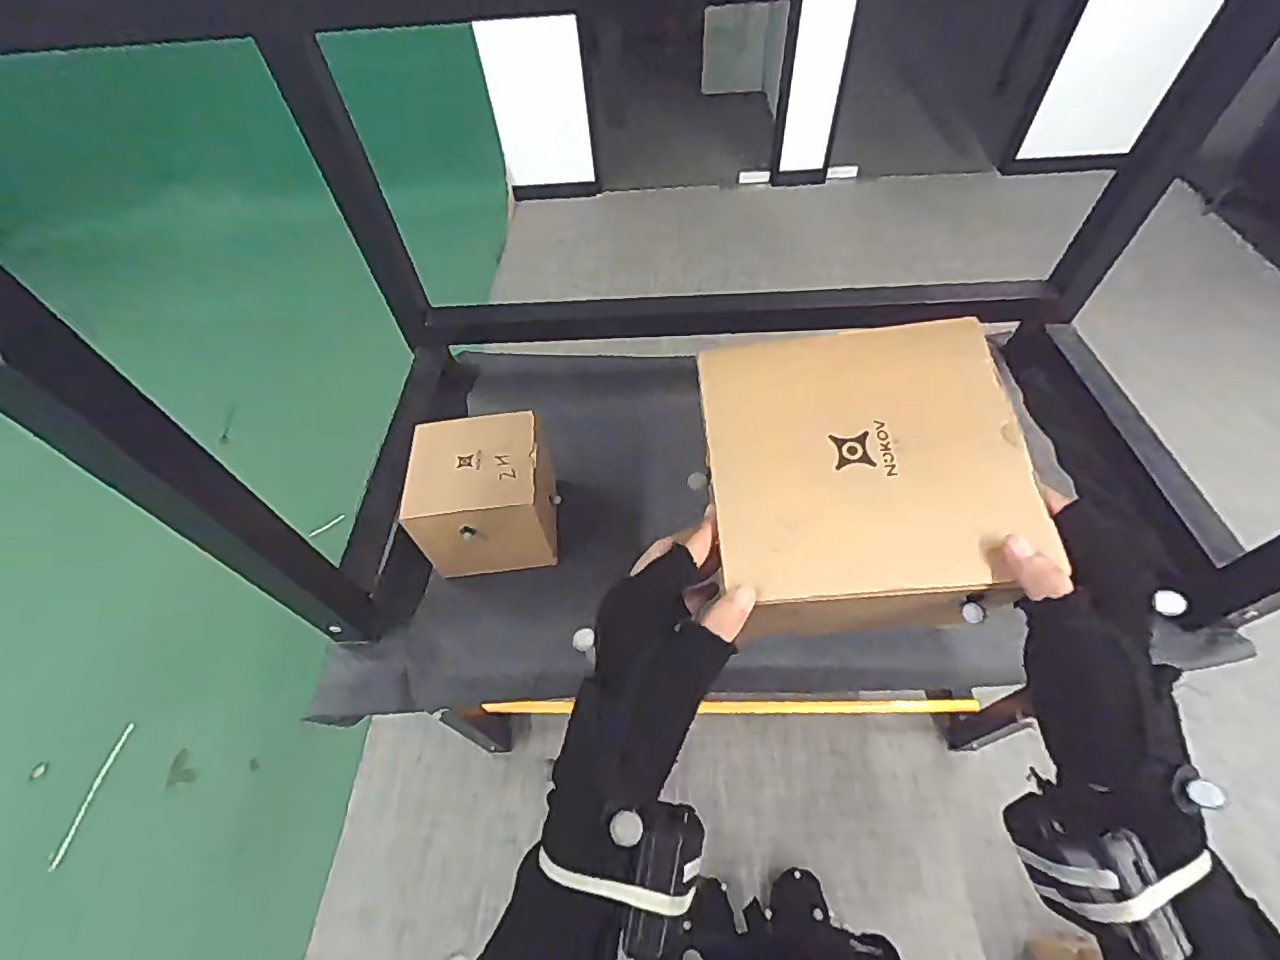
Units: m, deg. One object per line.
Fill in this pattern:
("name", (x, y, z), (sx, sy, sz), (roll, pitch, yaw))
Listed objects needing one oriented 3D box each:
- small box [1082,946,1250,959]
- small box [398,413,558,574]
("small box", (0.840, 0.835, 0.824), (0.168, 0.176, 0.179), (-3, 52, 2))
("small box", (-0.224, 0.025, 0.794), (0.179, 0.176, 0.168), (-6, 54, -1))
